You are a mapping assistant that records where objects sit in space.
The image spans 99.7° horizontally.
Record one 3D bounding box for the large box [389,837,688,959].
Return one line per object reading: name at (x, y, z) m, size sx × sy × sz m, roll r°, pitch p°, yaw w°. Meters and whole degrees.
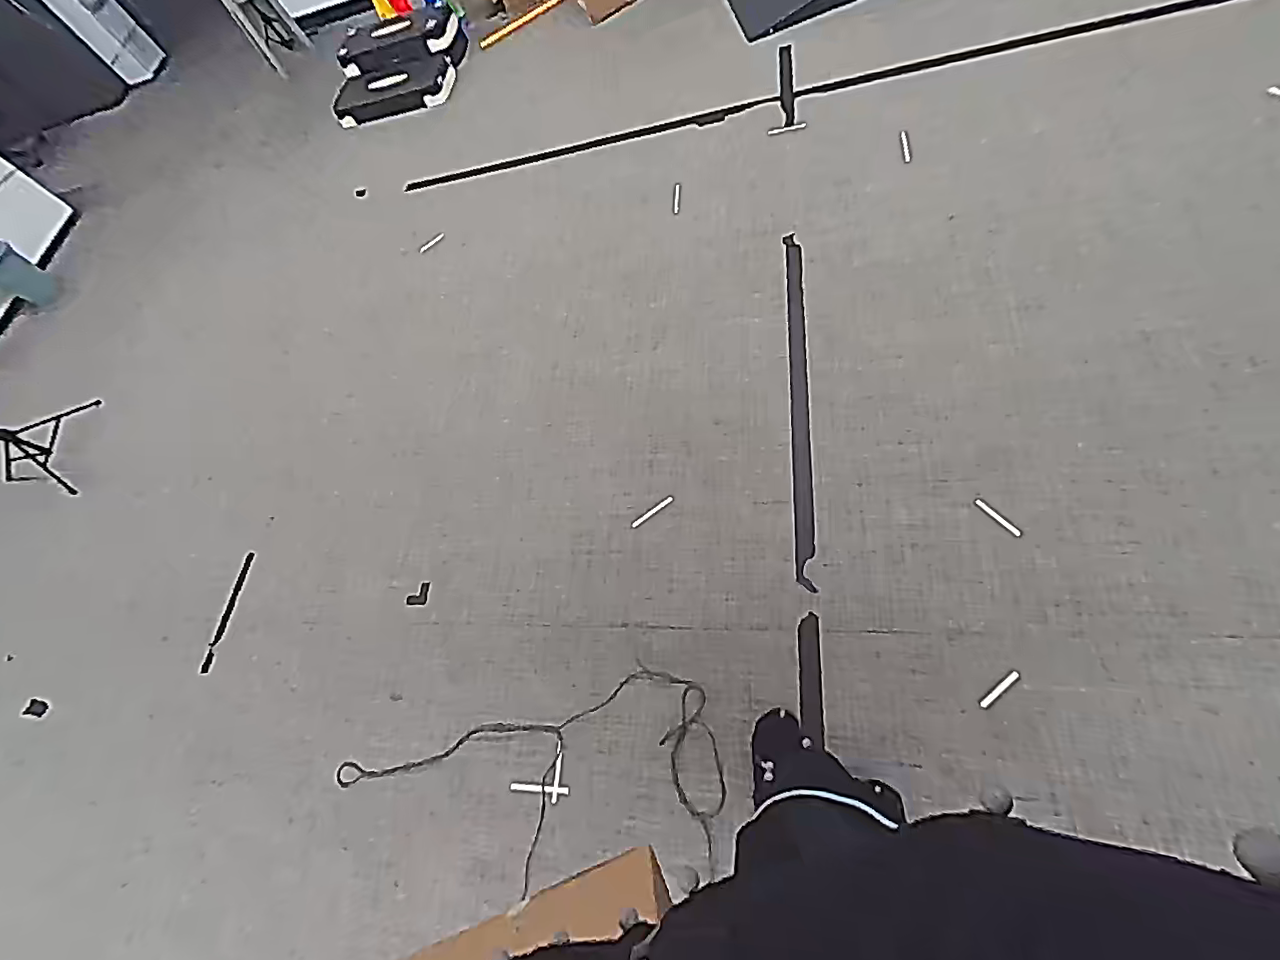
large box at (-0.058, 0.591, 0.418) m, size 0.320 × 0.320 × 0.408 m, roll -20°, pitch 71°, yaw -10°
